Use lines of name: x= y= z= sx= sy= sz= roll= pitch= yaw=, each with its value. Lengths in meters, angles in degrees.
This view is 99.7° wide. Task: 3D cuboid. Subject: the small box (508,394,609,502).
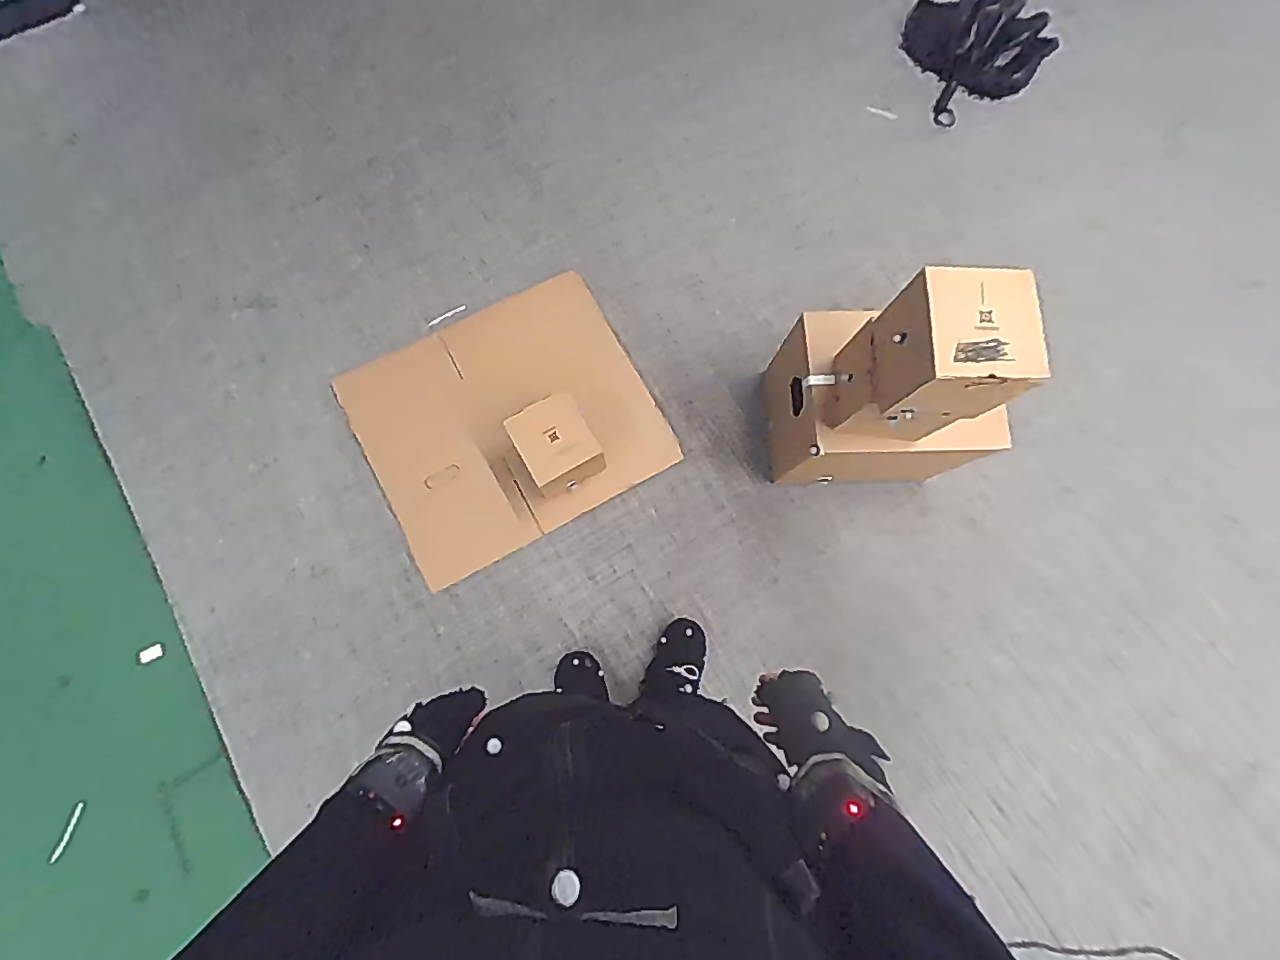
small box: x=-0.186 y=-0.068 z=1.277 sx=0.168 sy=0.176 sz=0.179 roll=-31 pitch=80 yaw=-6

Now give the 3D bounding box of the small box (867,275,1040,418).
small box: x=0.483 y=-0.200 z=0.860 sx=0.168 sy=0.176 sz=0.179 roll=-2 pitch=79 yaw=-2

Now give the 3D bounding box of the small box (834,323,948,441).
small box: x=0.479 y=-0.178 z=1.026 sx=0.179 sy=0.176 sz=0.168 roll=4 pitch=76 yaw=-2
